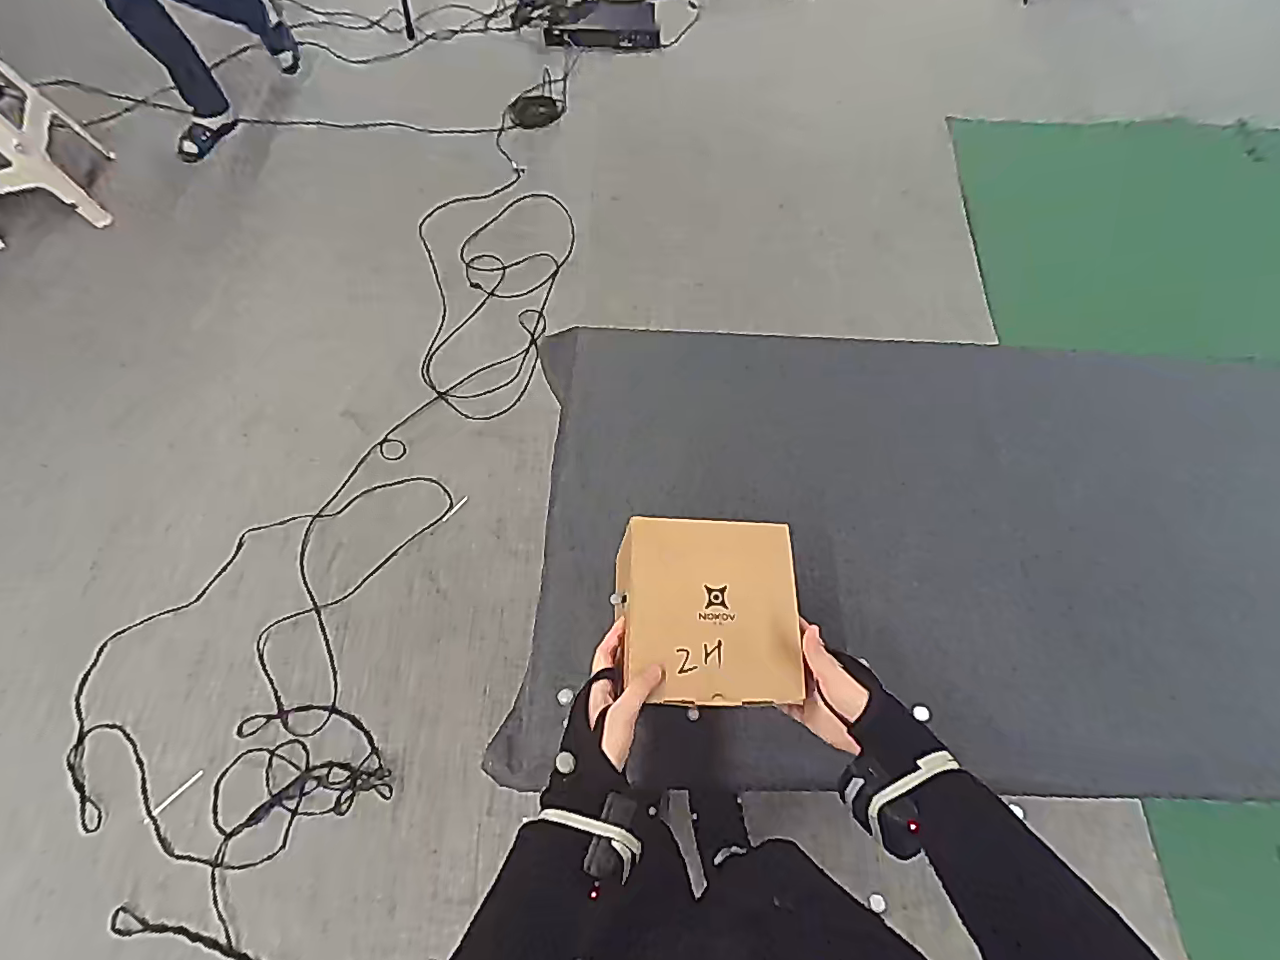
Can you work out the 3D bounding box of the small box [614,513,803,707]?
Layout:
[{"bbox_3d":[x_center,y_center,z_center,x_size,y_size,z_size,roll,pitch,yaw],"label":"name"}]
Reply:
[{"bbox_3d":[0.061,0.150,0.590,0.168,0.176,0.179,4,67,-5],"label":"small box"}]
